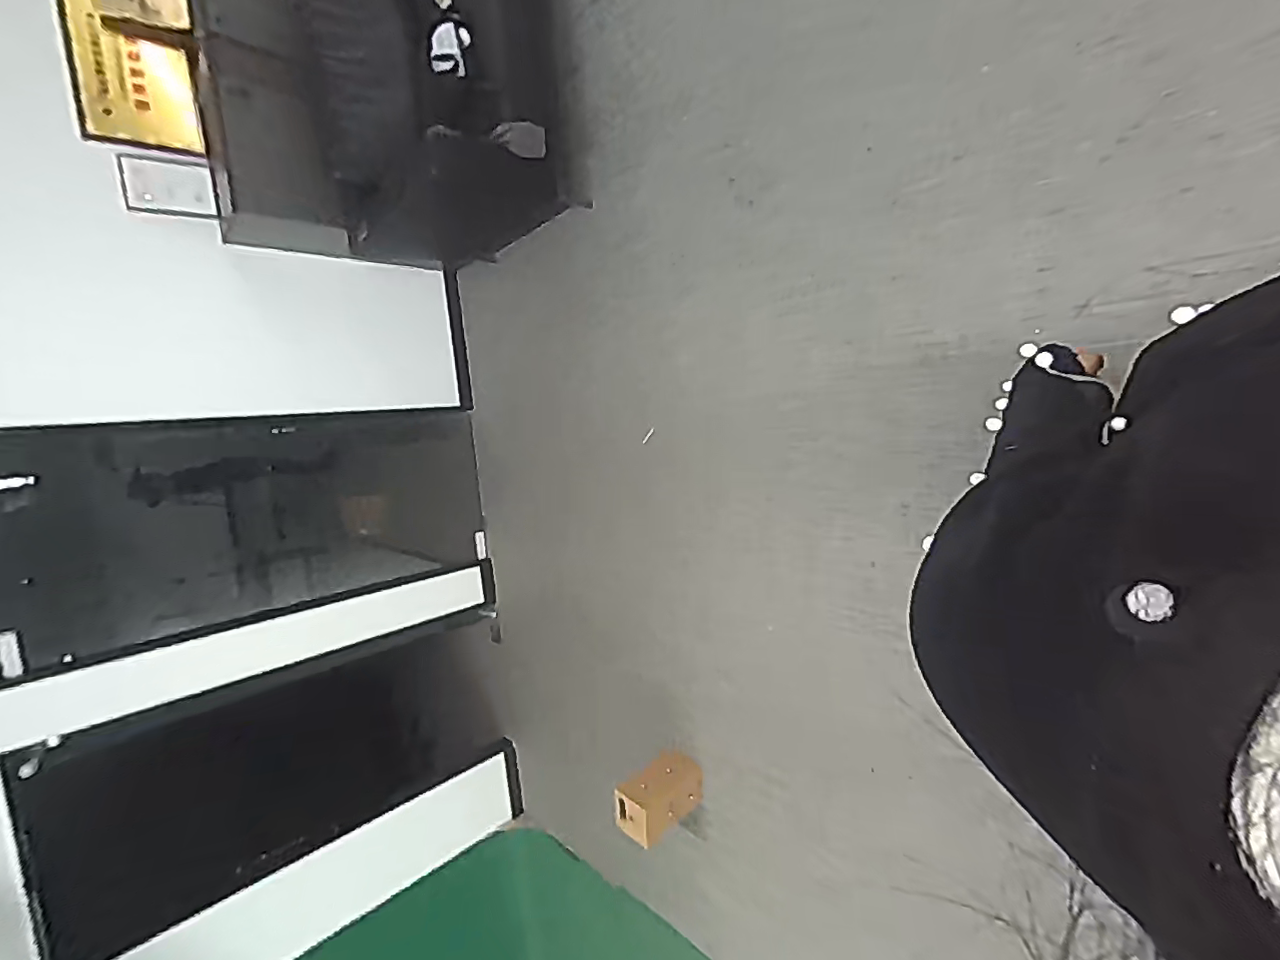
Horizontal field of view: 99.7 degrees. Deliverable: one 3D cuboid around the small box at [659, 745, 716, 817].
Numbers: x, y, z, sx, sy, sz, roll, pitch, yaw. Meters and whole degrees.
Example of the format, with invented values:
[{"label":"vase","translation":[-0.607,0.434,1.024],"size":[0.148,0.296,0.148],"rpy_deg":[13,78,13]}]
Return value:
[{"label":"small box","translation":[0.200,1.240,2.242],"size":[0.179,0.176,0.168],"rpy_deg":[10,105,46]}]
